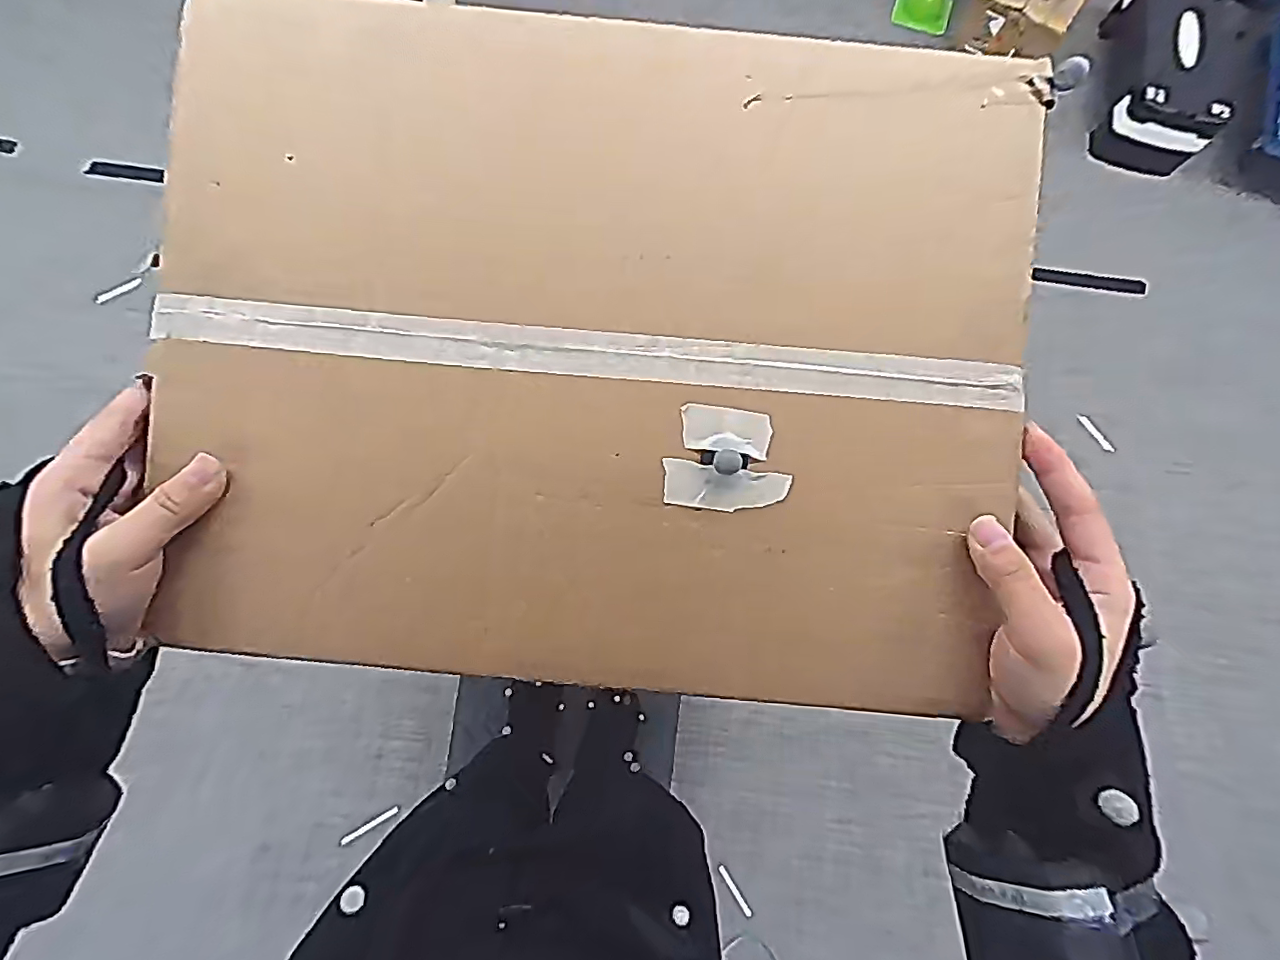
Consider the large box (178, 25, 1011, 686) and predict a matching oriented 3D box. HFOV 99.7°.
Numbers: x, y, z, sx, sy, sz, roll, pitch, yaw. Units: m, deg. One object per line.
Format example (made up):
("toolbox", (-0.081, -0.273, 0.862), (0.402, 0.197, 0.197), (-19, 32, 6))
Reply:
("large box", (-0.024, -0.062, 0.419), (0.408, 0.320, 0.320), (5, 91, 0))
